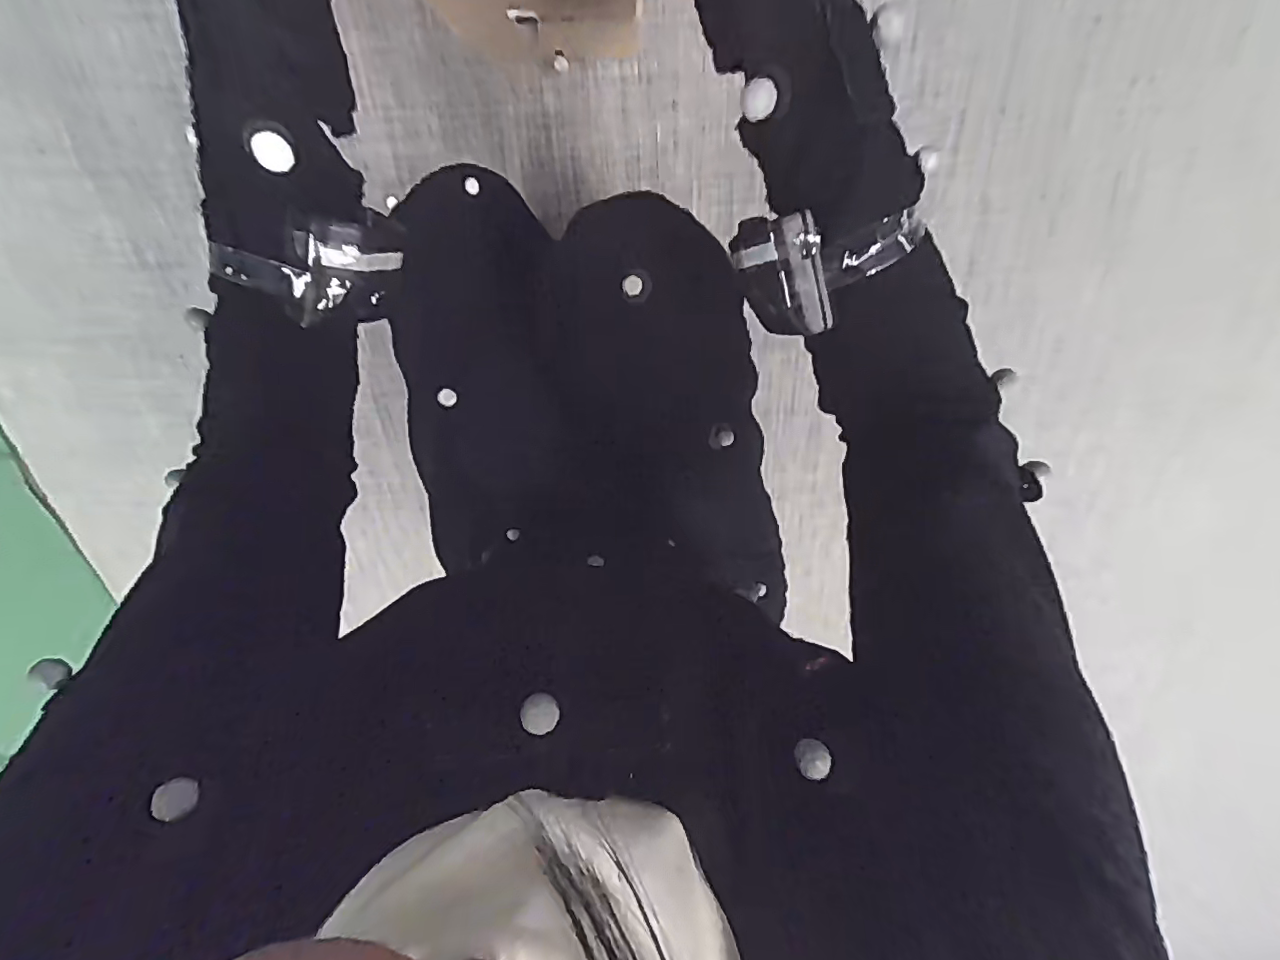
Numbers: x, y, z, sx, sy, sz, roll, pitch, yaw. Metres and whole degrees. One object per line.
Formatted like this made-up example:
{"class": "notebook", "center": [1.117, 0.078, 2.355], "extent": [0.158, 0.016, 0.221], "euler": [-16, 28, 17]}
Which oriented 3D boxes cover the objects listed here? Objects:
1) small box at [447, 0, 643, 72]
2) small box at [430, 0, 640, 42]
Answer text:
{"class": "small box", "center": [-0.086, -0.510, 0.519], "extent": [0.179, 0.176, 0.168], "euler": [0, 118, 0]}
{"class": "small box", "center": [-0.084, -0.434, 0.376], "extent": [0.168, 0.176, 0.179], "euler": [-1, 120, 2]}
